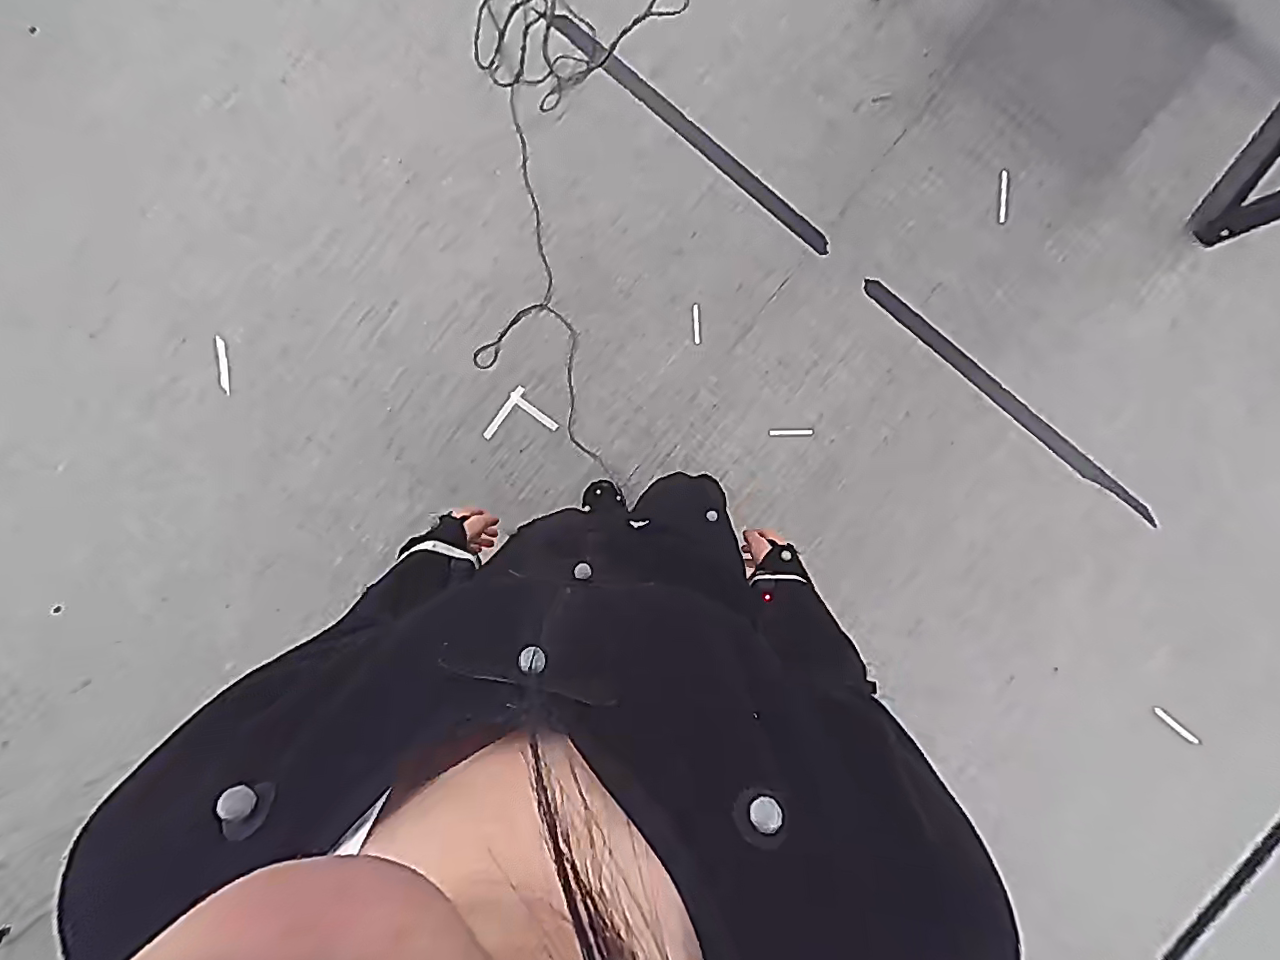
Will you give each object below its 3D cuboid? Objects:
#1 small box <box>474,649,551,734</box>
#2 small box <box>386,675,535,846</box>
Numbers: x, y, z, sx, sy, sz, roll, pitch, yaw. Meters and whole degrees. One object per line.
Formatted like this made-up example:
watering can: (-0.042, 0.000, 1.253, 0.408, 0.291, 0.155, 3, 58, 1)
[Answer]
small box: (-0.305, 0.490, 1.128, 0.168, 0.176, 0.179, 36, 90, -1)
small box: (-0.305, 0.485, 0.965, 0.168, 0.176, 0.179, 35, 92, 0)
